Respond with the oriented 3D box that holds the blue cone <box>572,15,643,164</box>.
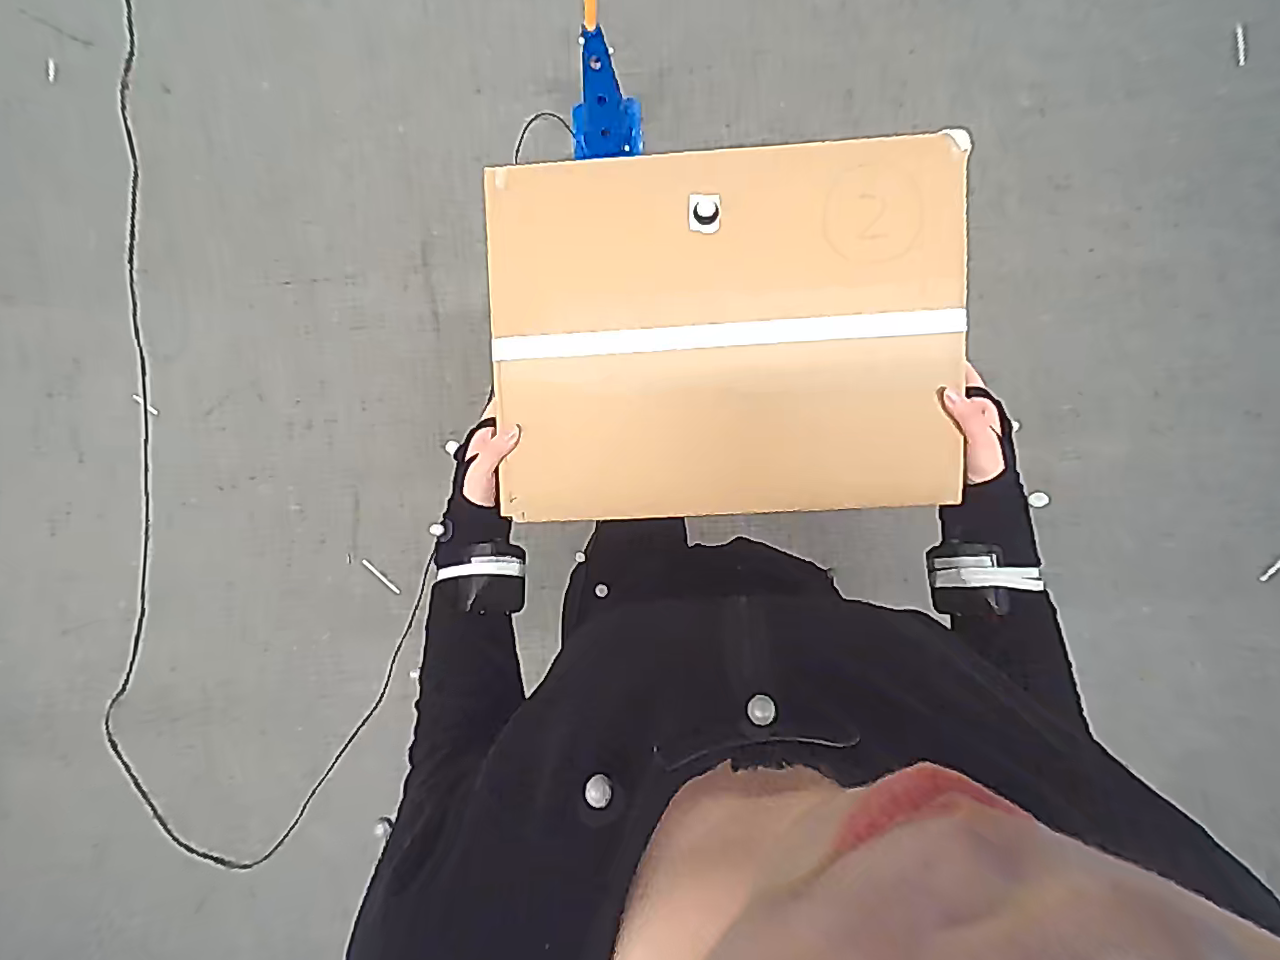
[{"bbox_3d":[-0.098,-1.002,1.366,0.193,0.380,0.192,-6,88,1],"label":"blue cone"}]
